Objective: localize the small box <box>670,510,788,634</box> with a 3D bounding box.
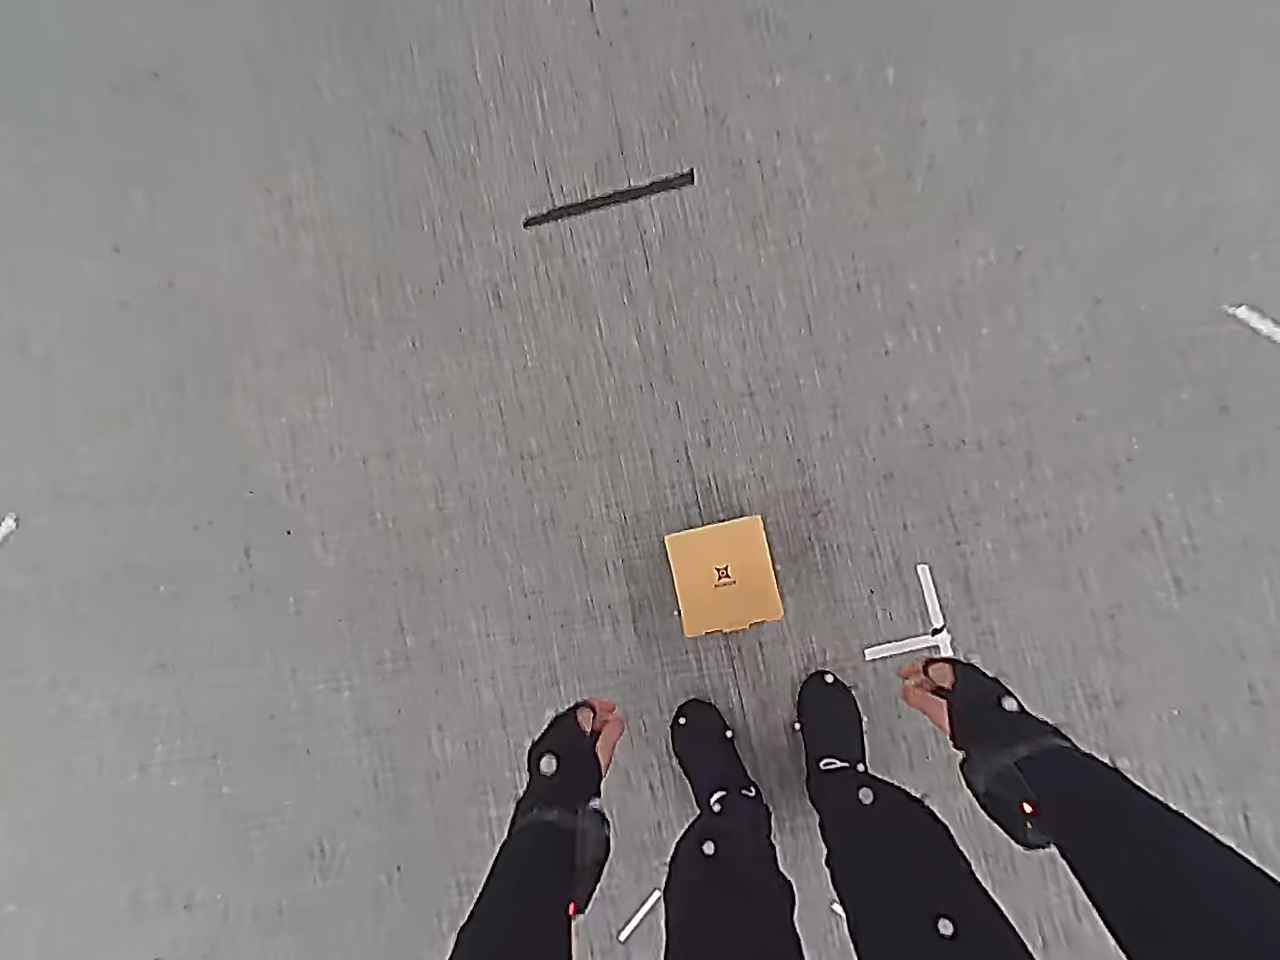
[{"bbox_3d":[0.150,0.157,0.965,0.168,0.176,0.179,-13,86,4],"label":"small box"}]
